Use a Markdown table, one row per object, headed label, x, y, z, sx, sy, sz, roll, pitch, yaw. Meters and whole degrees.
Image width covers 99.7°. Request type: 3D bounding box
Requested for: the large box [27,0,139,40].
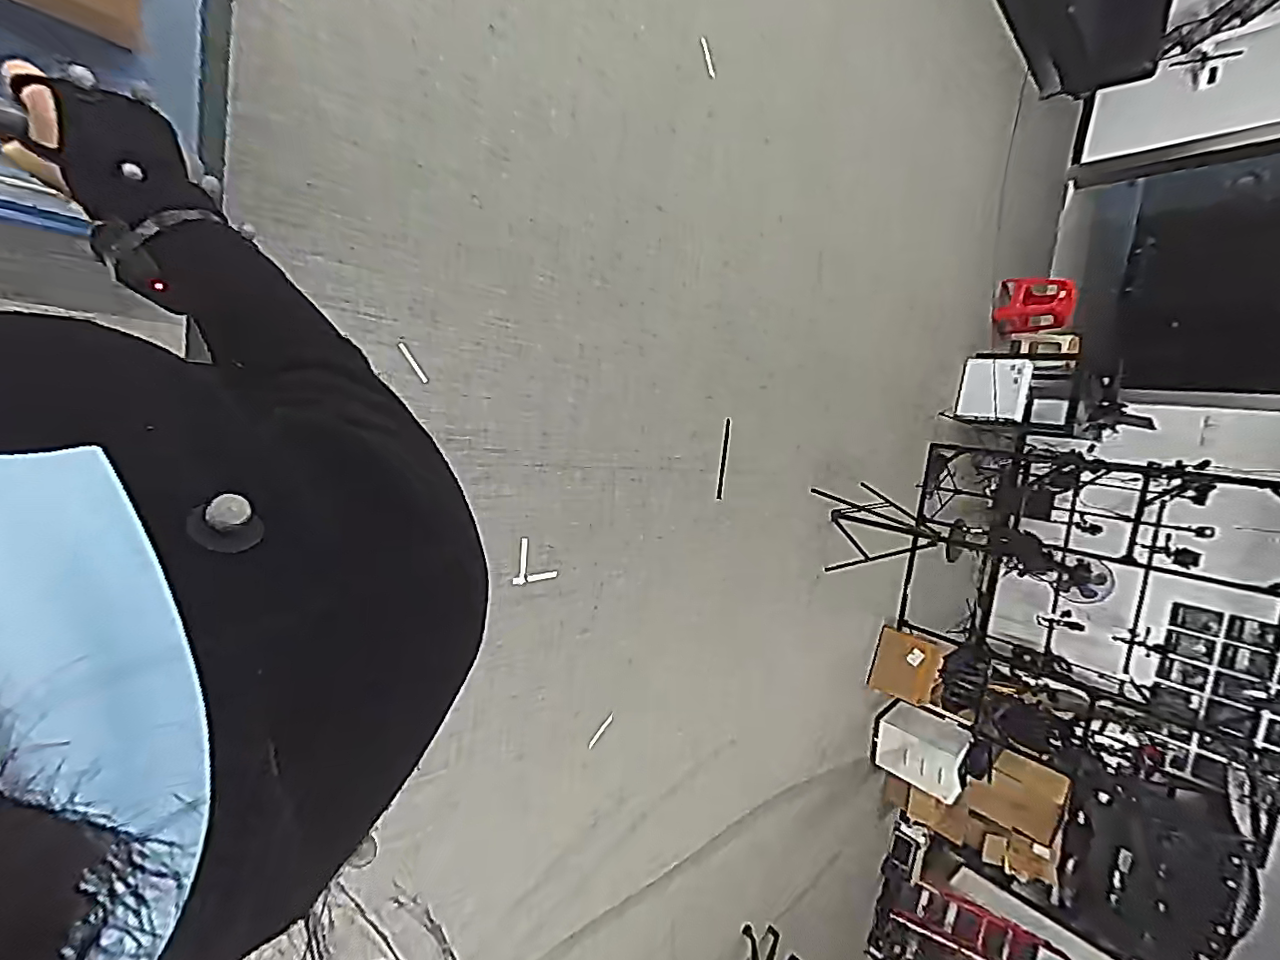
| label | x | y | z | sx | sy | sz | roll | pitch | yaw |
| --- | --- | --- | --- | --- | --- | --- | --- | --- | --- |
| large box | -0.872 | -0.851 | 0.646 | 0.408 | 0.320 | 0.320 | 2 | 98 | -43 |
